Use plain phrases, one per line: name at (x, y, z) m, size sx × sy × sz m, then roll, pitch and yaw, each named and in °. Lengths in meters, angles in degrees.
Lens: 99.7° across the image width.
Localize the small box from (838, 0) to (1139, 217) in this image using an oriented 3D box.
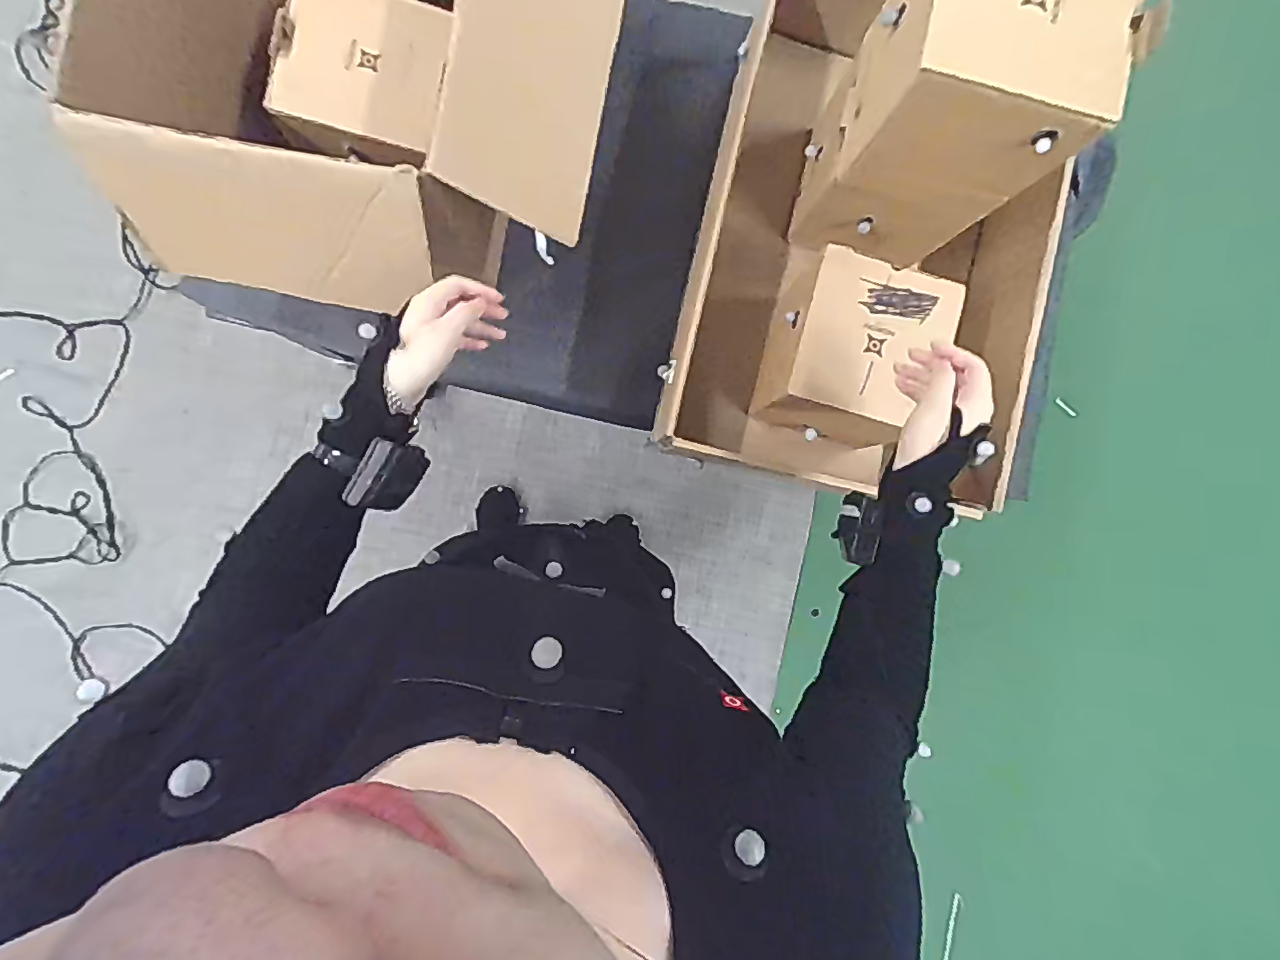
small box at (0.316, -0.383, 0.520) m, size 0.179 × 0.176 × 0.168 m, roll 12°, pitch 90°, yaw -4°
